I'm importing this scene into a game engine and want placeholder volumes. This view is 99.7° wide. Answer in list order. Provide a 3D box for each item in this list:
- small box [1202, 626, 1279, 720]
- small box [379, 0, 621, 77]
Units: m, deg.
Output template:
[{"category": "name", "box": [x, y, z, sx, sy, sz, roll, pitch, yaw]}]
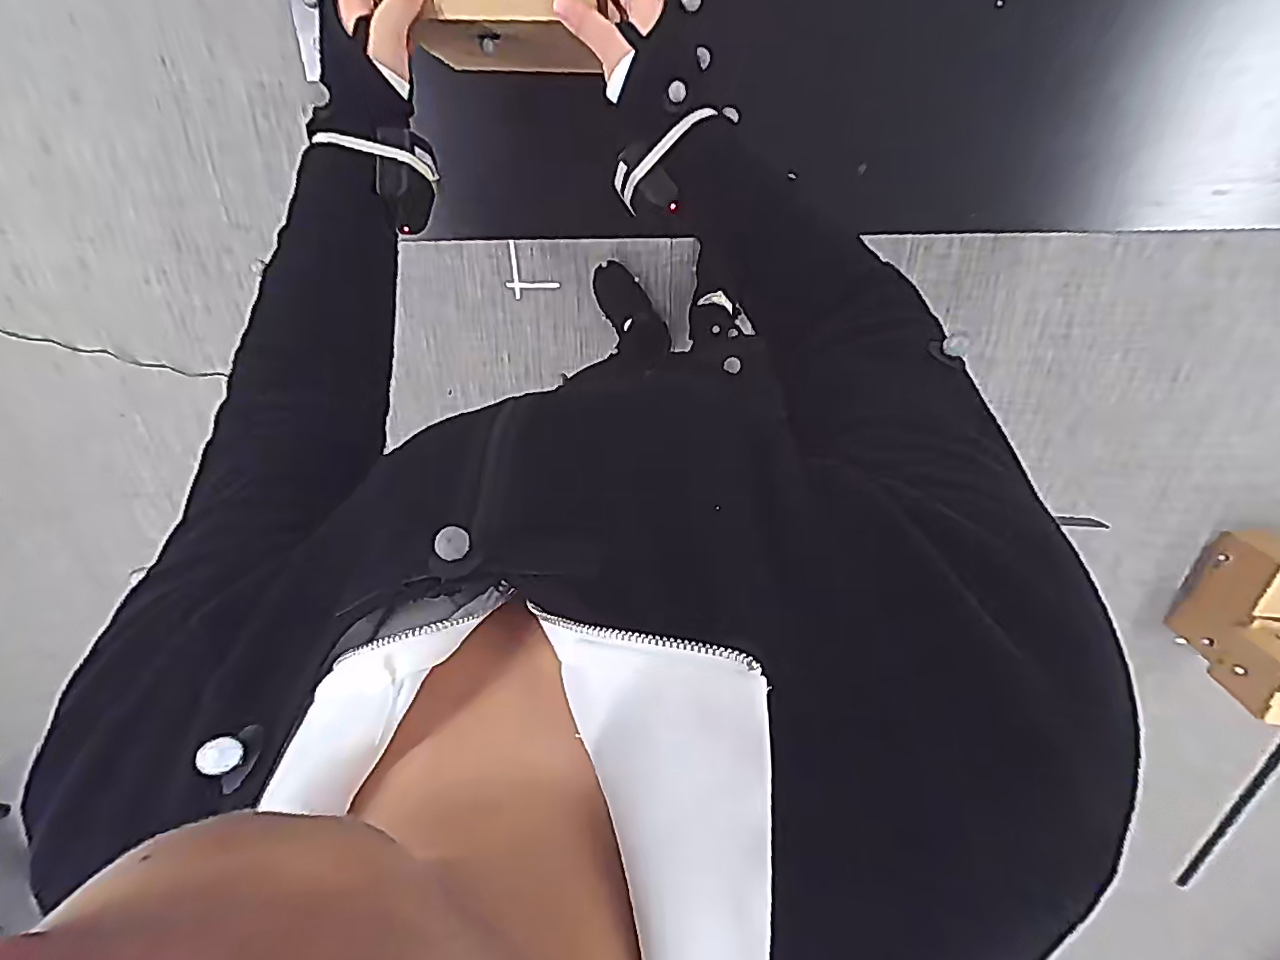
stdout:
[{"category": "small box", "box": [1.632, 0.496, 1.392, 0.179, 0.176, 0.168, 3, 116, 5]}, {"category": "small box", "box": [-0.111, -0.468, 0.467, 0.179, 0.176, 0.168, 4, 116, 3]}]
